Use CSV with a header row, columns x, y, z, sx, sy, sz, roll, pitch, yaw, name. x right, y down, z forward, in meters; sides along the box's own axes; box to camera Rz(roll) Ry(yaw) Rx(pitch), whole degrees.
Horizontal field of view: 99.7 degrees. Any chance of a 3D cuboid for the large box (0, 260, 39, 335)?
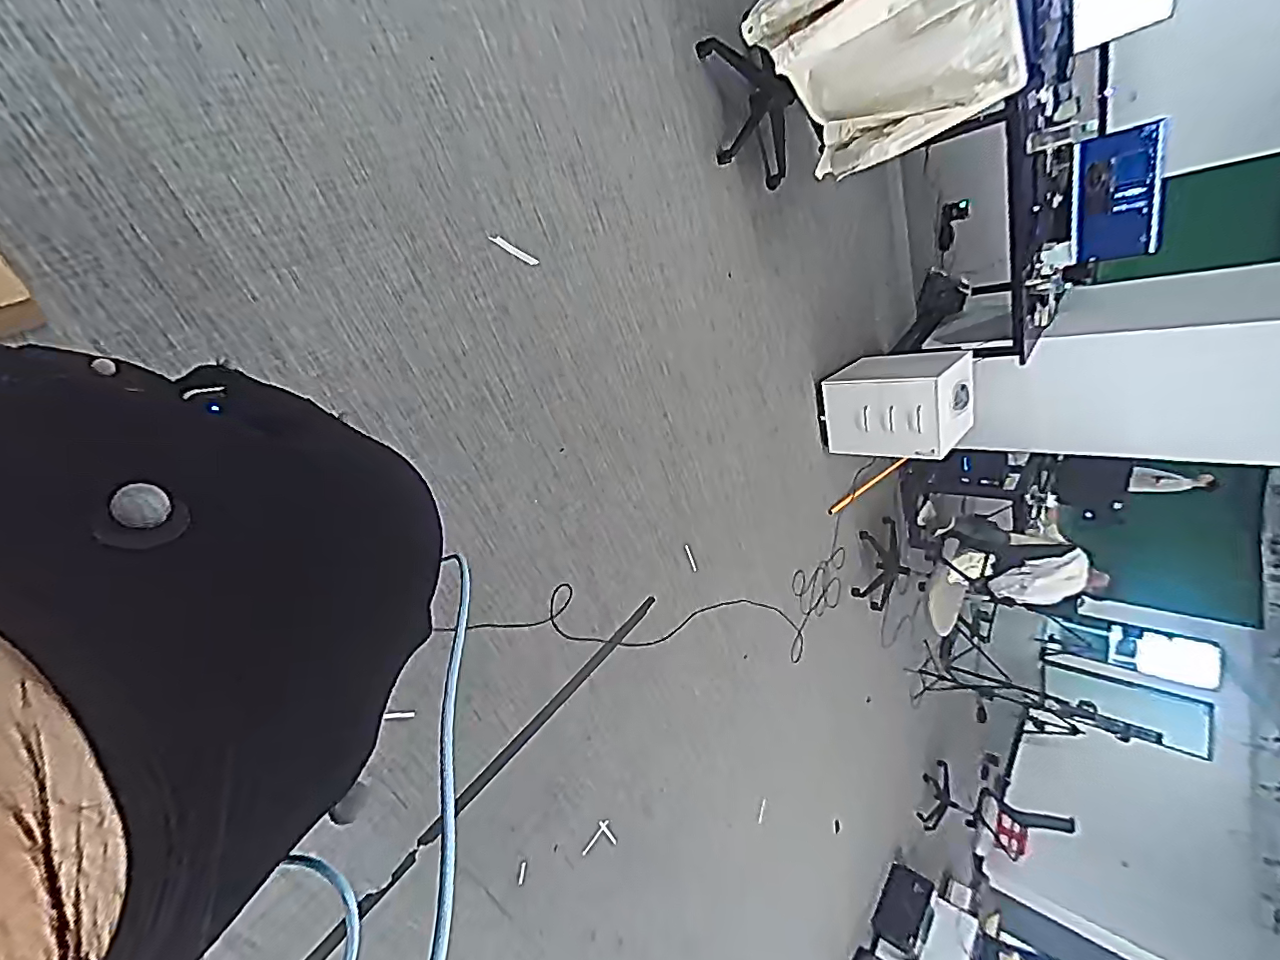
x,y,z,sx,sy,sz,roll,pitch,yaw,name
-1.104,-0.278,0.655,0.408,0.320,0.320,-41,123,-34,large box
